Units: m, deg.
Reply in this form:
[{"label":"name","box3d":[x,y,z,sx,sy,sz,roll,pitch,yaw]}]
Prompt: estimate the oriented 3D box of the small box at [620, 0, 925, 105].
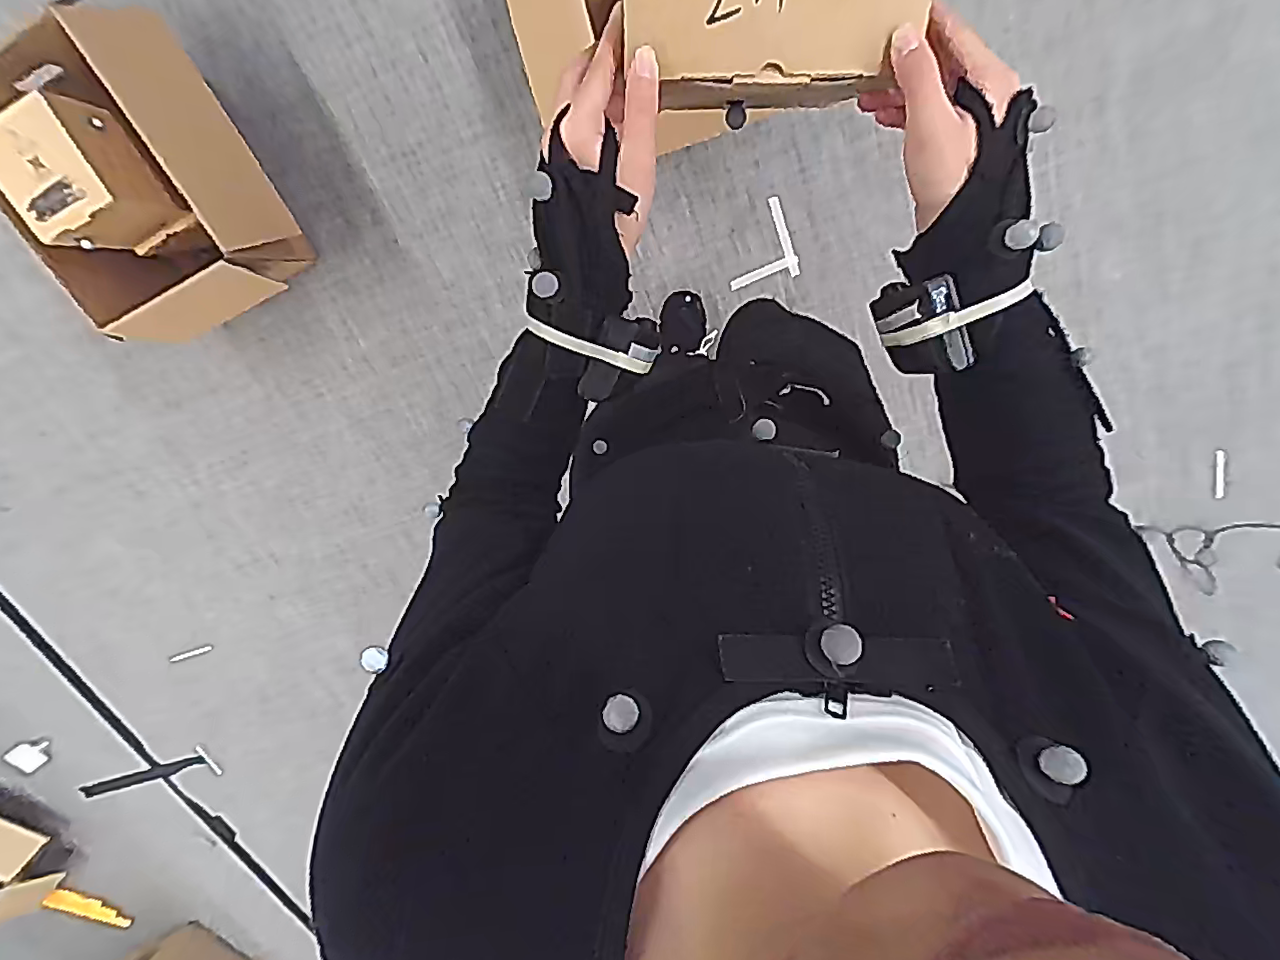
[{"label":"small box","box3d":[0.070,-0.346,0.331,0.168,0.176,0.179,-1,120,-1]}]
